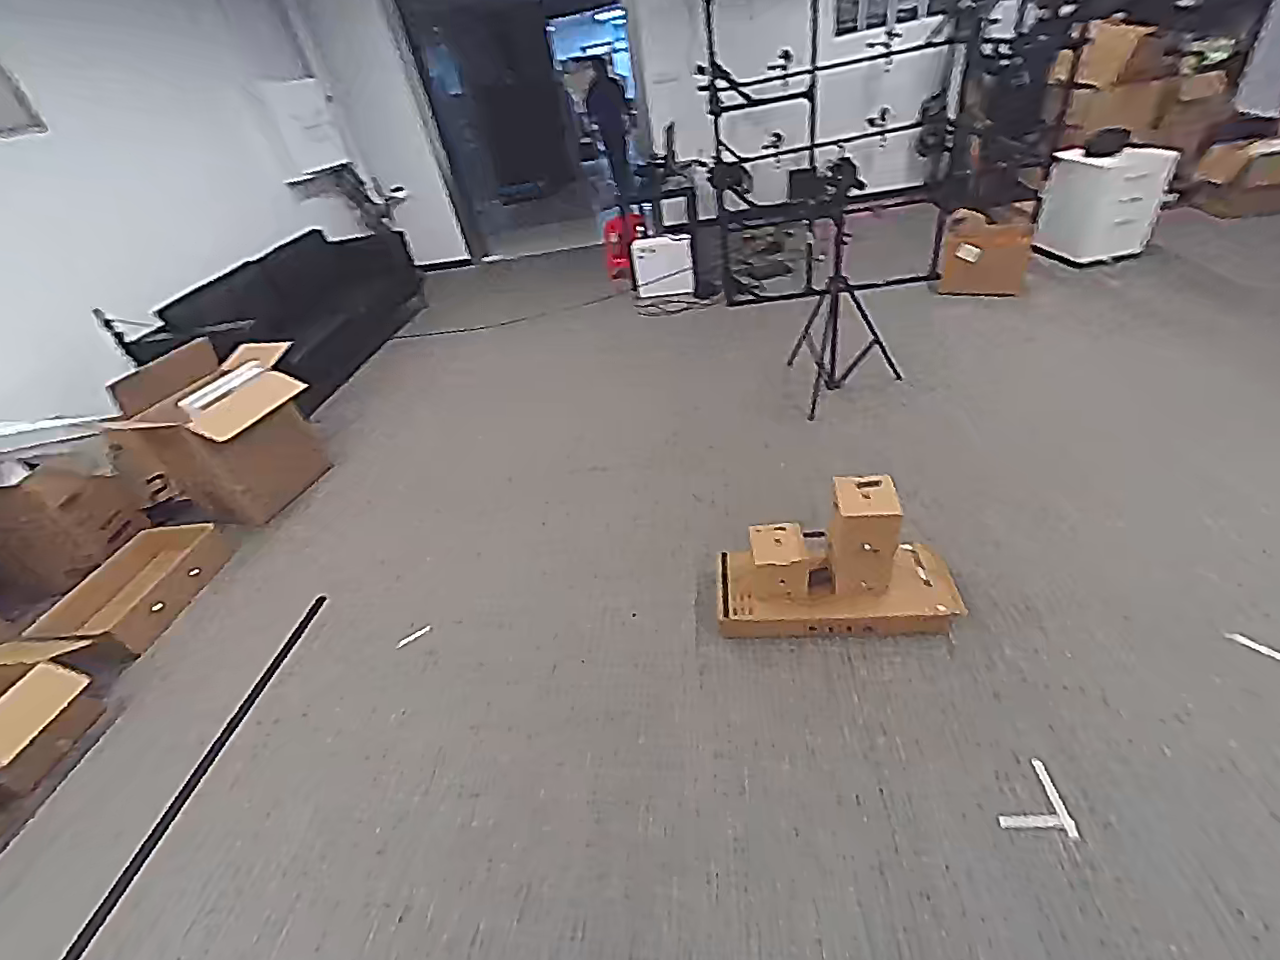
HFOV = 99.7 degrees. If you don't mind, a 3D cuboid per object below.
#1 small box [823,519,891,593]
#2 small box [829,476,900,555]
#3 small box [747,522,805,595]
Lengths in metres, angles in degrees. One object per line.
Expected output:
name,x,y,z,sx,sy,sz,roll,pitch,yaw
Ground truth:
small box,0.687,0.239,1.730,0.168,0.176,0.179,-5,37,10
small box,0.670,0.108,1.632,0.168,0.176,0.179,-3,38,12
small box,0.444,0.263,1.765,0.168,0.176,0.179,-6,38,8
